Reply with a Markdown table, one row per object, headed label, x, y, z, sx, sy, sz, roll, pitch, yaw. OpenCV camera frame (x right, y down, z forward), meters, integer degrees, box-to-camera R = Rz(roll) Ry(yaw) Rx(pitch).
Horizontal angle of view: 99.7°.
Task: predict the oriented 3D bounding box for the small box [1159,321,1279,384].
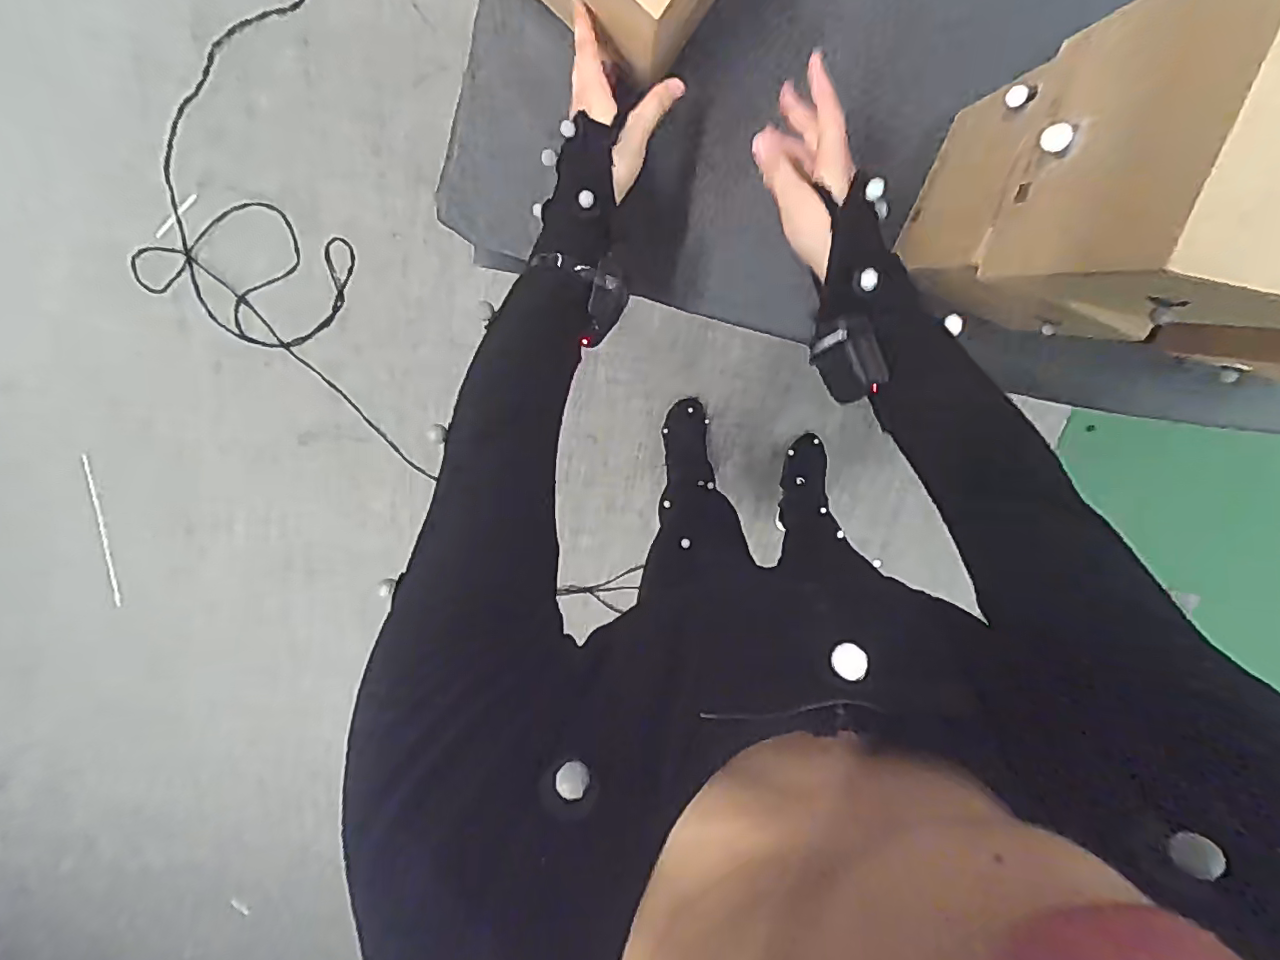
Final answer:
| label | x | y | z | sx | sy | sz | roll | pitch | yaw |
| --- | --- | --- | --- | --- | --- | --- | --- | --- | --- |
| small box | 0.679 | -0.183 | 0.524 | 0.168 | 0.176 | 0.179 | 10 | 108 | -2 |

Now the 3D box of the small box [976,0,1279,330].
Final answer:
| label | x | y | z | sx | sy | sz | roll | pitch | yaw |
| --- | --- | --- | --- | --- | --- | --- | --- | --- | --- |
| small box | 0.369 | -0.195 | 0.344 | 0.179 | 0.176 | 0.168 | 11 | 108 | -3 |

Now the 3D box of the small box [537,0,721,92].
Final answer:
| label | x | y | z | sx | sy | sz | roll | pitch | yaw |
| --- | --- | --- | --- | --- | --- | --- | --- | --- | --- |
| small box | -0.009 | -0.458 | 0.424 | 0.179 | 0.176 | 0.168 | 37 | 104 | -12 |
